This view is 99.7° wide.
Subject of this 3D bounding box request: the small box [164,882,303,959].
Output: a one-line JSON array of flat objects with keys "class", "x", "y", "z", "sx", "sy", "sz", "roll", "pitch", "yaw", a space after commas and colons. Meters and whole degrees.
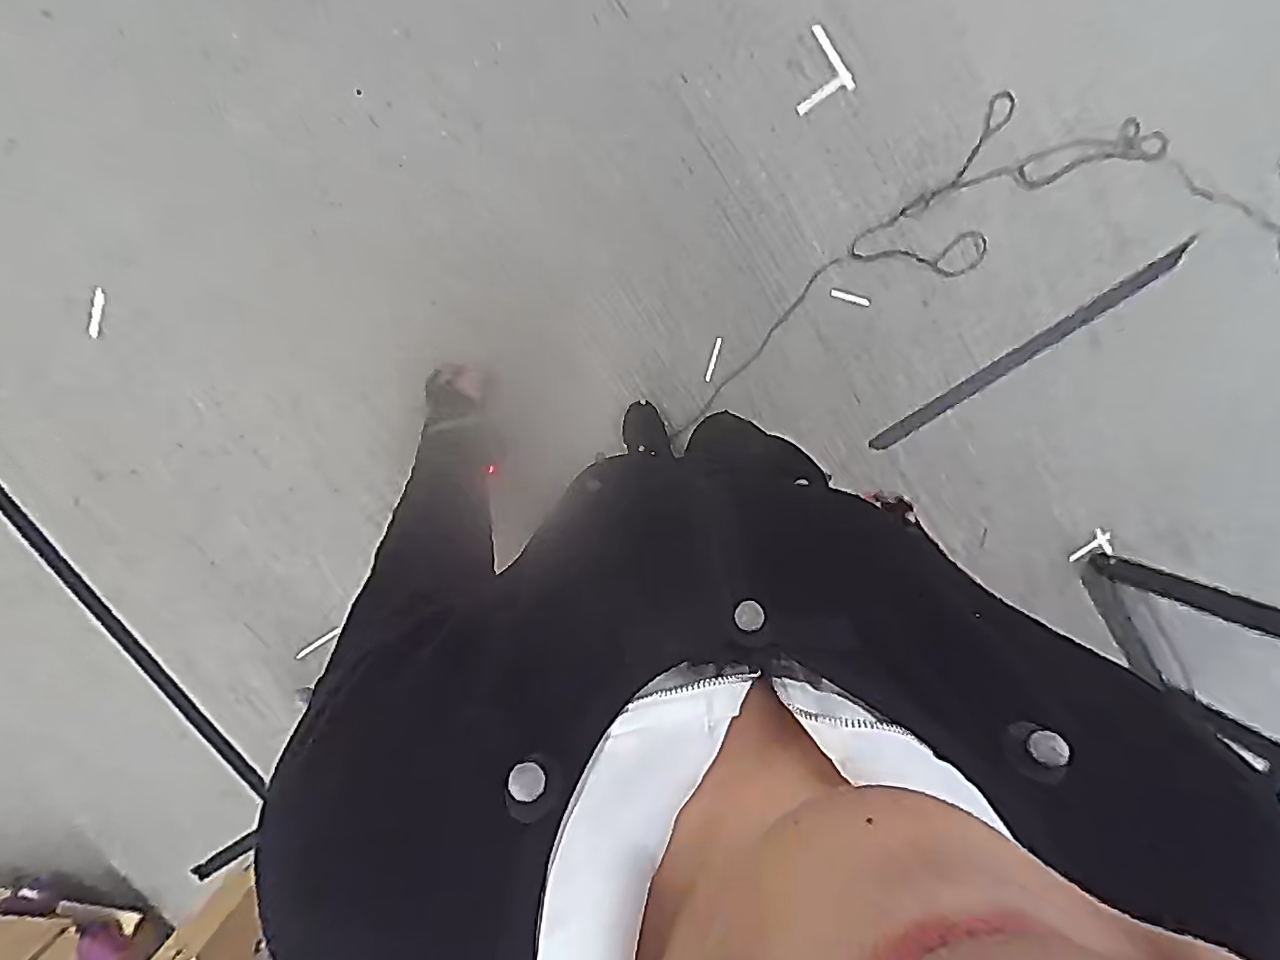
[{"class": "small box", "x": -0.778, "y": 0.916, "z": 1.016, "sx": 0.179, "sy": 0.176, "sz": 0.168, "roll": -31, "pitch": 96, "yaw": 4}]
